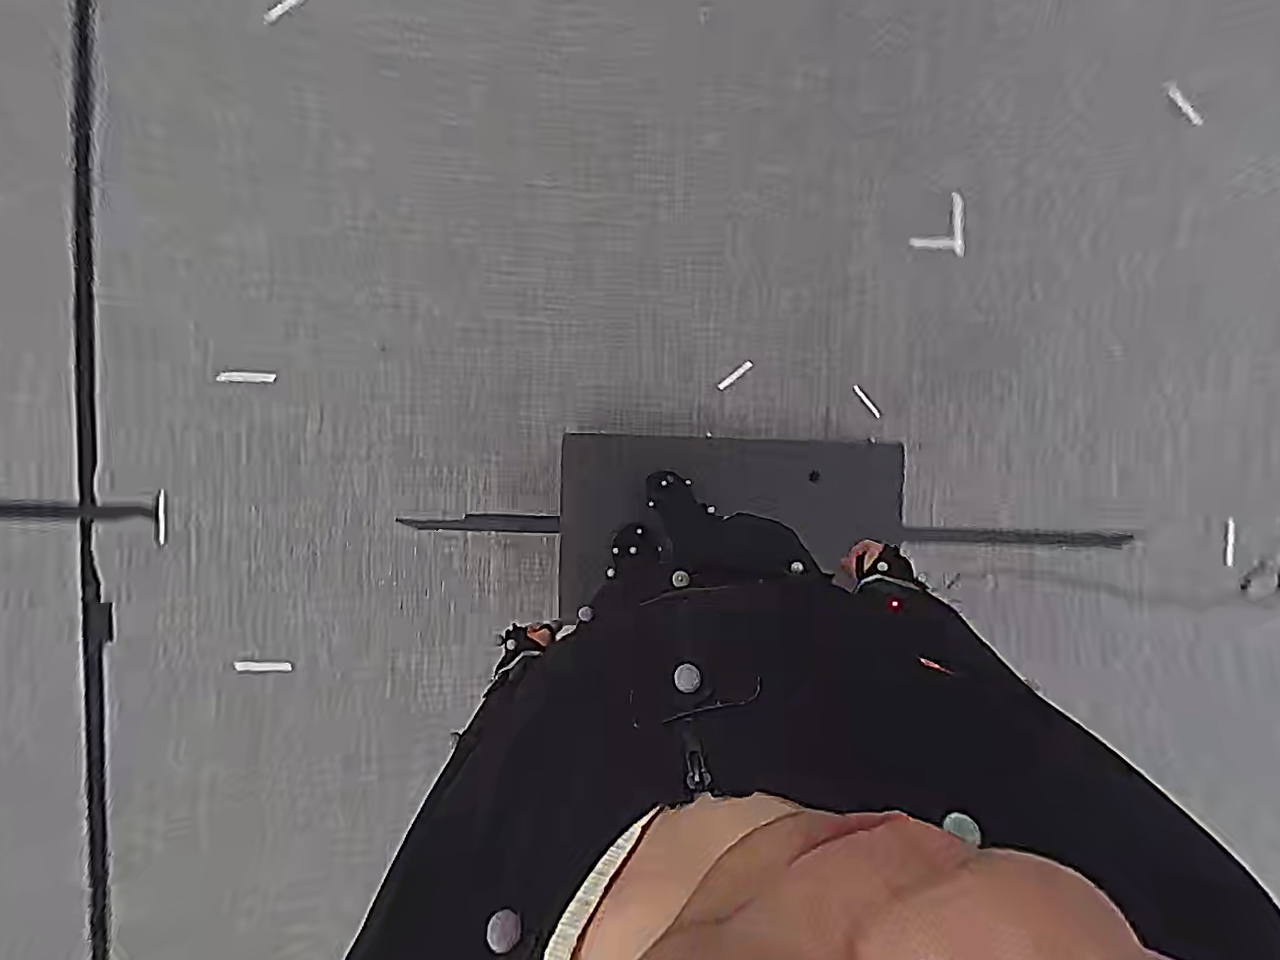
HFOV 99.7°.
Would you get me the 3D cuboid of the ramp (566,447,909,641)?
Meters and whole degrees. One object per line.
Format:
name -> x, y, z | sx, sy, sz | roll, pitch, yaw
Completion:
ramp -> 0.300, 0.156, 1.473 | 0.991, 0.206, 0.509 | -2, 89, -4
